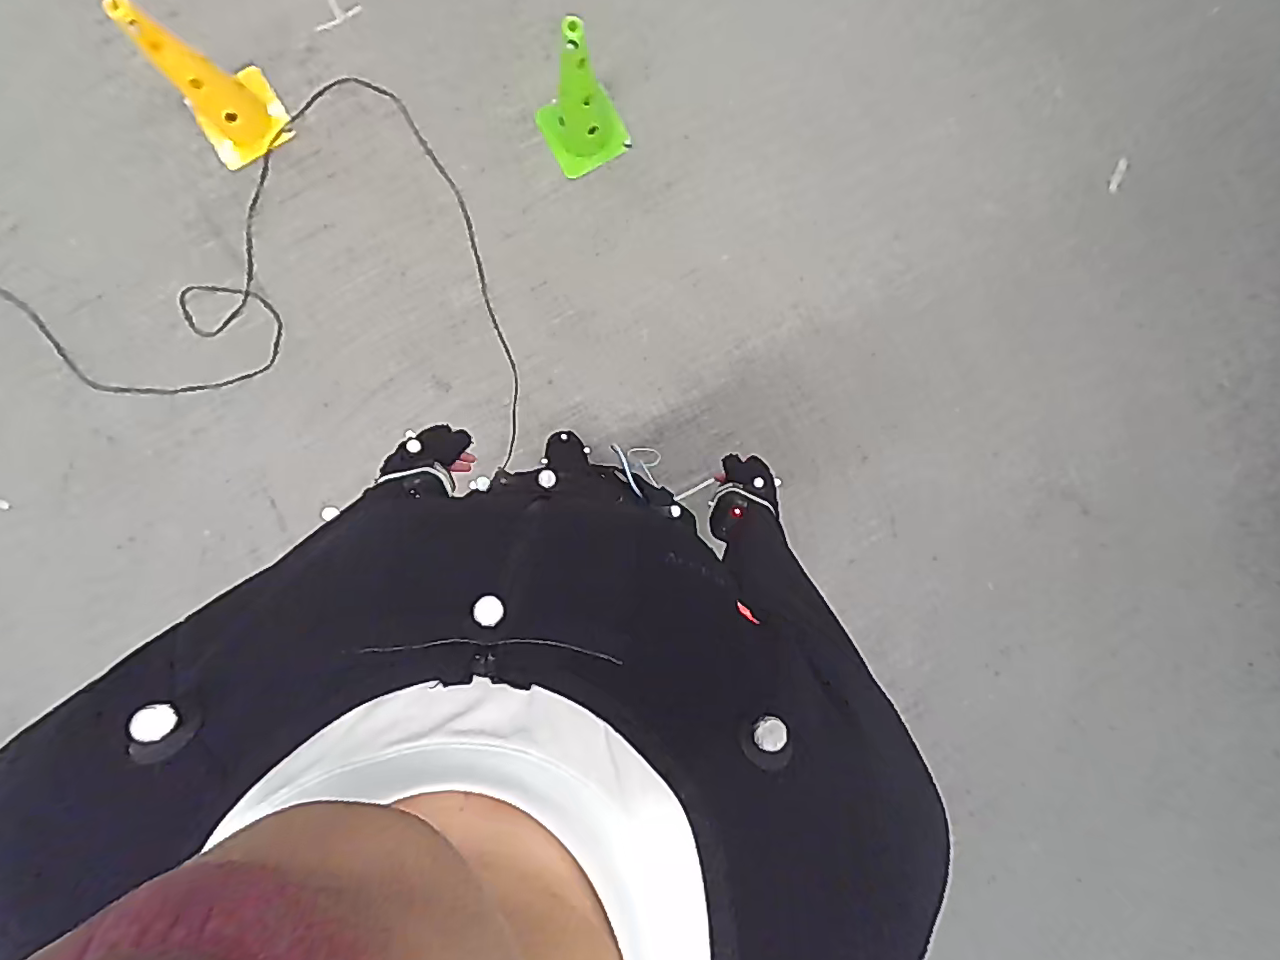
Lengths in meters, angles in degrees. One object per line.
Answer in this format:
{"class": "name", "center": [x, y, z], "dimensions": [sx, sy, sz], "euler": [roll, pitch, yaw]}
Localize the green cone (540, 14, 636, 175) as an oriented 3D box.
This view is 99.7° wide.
{"class": "green cone", "center": [-0.134, -0.926, 1.254], "dimensions": [0.202, 0.368, 0.200], "euler": [-29, 93, 1]}
